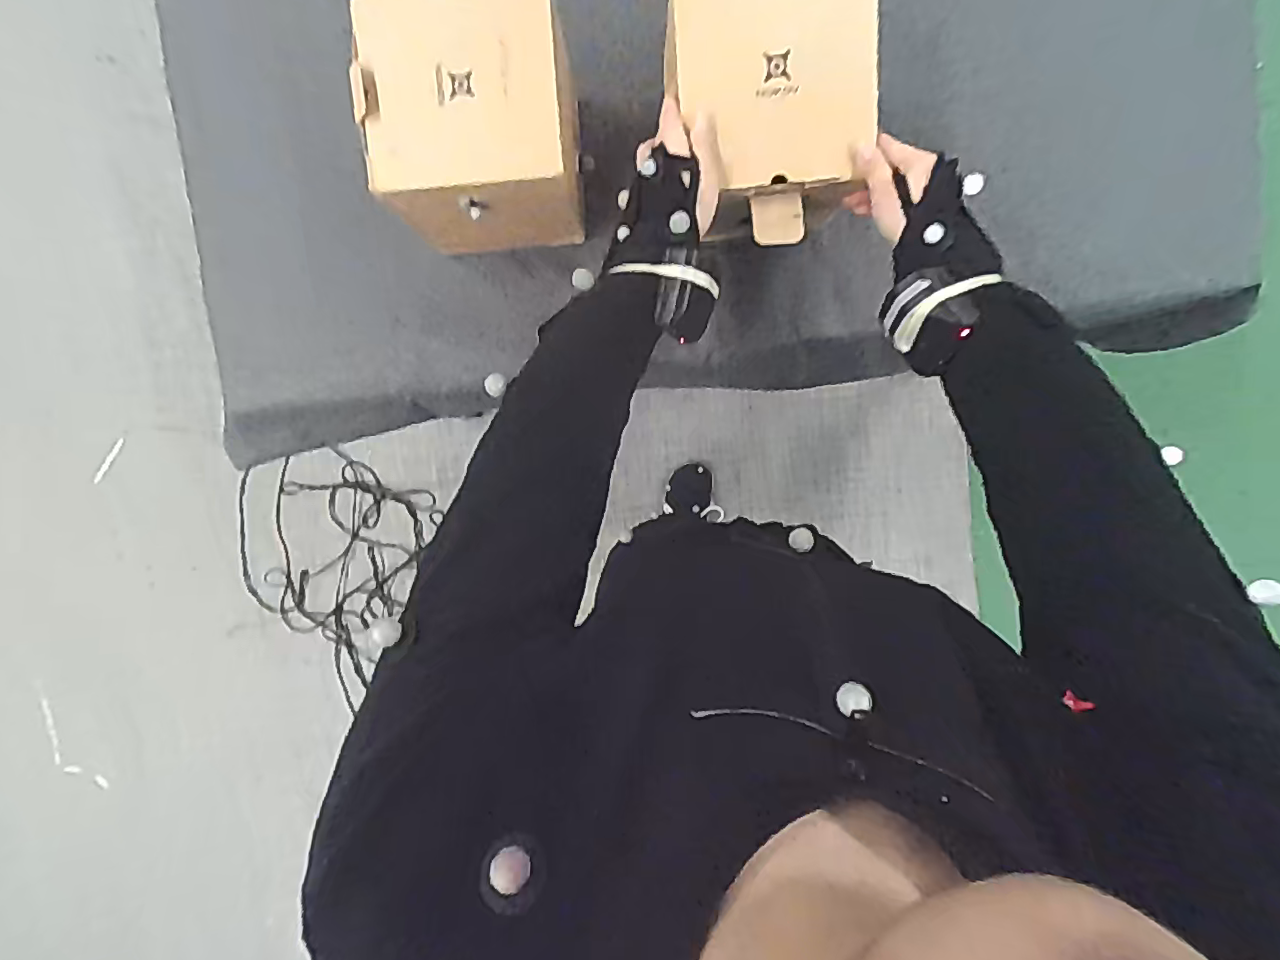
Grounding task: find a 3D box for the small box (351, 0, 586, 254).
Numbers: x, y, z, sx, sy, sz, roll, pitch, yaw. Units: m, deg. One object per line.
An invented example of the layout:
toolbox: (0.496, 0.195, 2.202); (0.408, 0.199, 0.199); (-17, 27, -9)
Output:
small box: (-0.156, -0.341, 0.546); (0.179, 0.176, 0.168); (-3, 94, 2)
